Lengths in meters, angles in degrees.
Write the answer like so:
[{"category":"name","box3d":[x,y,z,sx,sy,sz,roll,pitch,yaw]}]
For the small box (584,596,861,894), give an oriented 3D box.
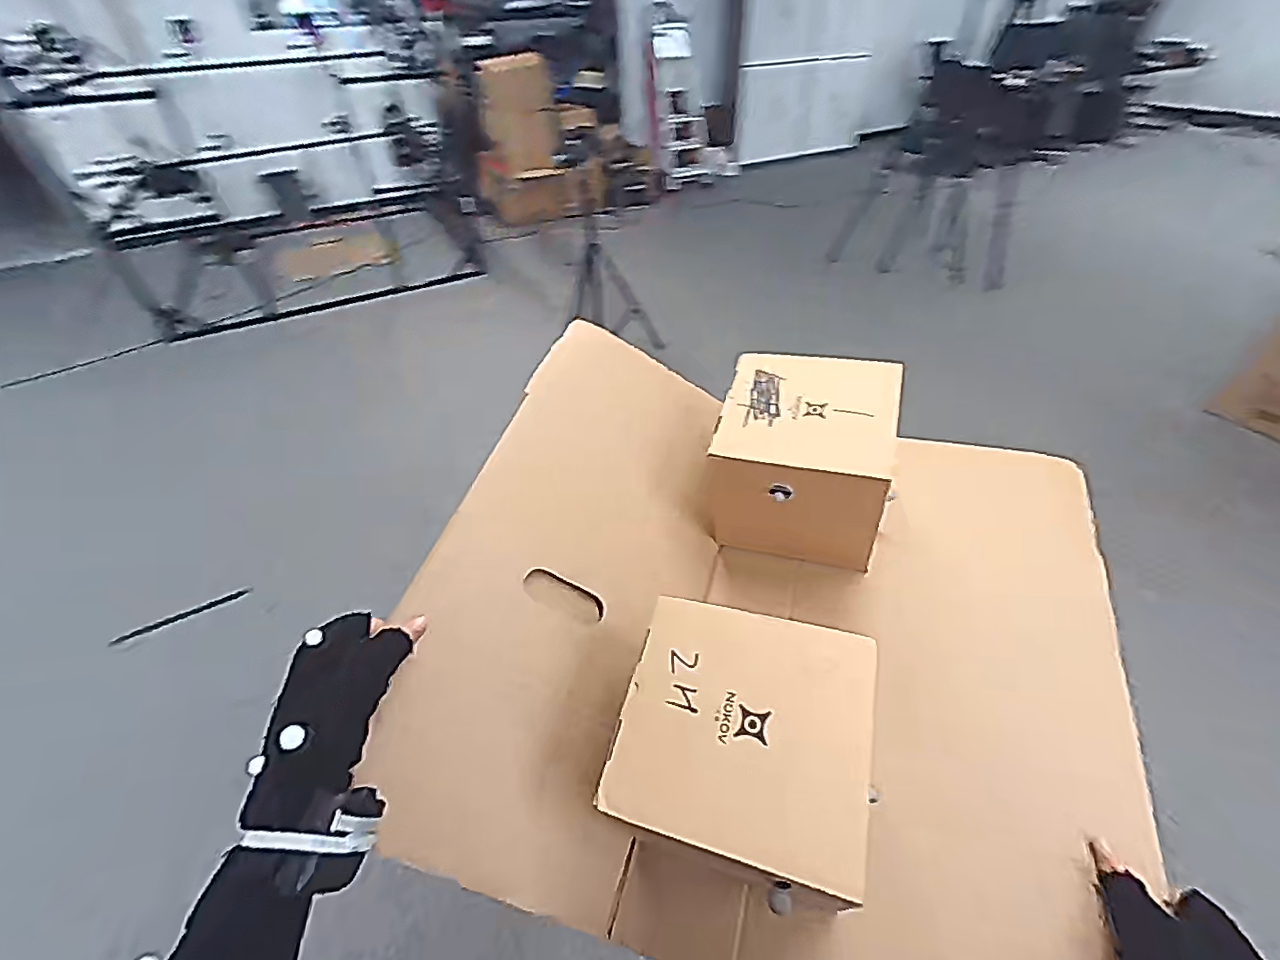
[{"category":"small box","box3d":[0.079,0.223,0.459,0.179,0.176,0.168,7,53,20]}]
